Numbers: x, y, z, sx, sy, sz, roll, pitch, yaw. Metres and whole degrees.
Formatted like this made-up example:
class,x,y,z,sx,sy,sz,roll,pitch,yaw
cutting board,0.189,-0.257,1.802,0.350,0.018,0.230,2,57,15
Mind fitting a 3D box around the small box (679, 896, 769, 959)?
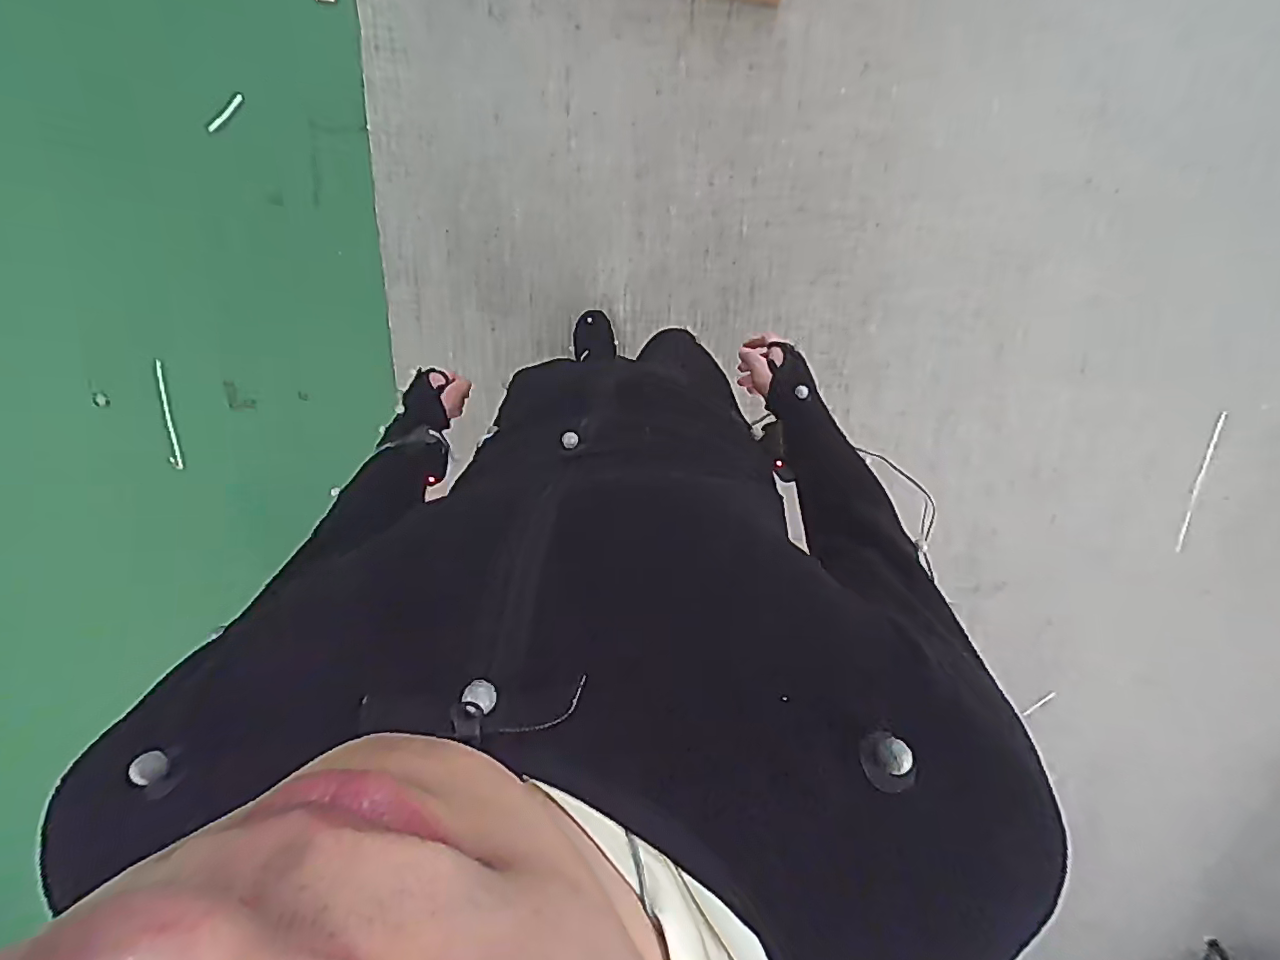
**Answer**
class,x,y,z,sx,sy,sz,roll,pitch,yaw
small box,0.174,1.023,1.147,0.168,0.176,0.179,-1,109,-2
